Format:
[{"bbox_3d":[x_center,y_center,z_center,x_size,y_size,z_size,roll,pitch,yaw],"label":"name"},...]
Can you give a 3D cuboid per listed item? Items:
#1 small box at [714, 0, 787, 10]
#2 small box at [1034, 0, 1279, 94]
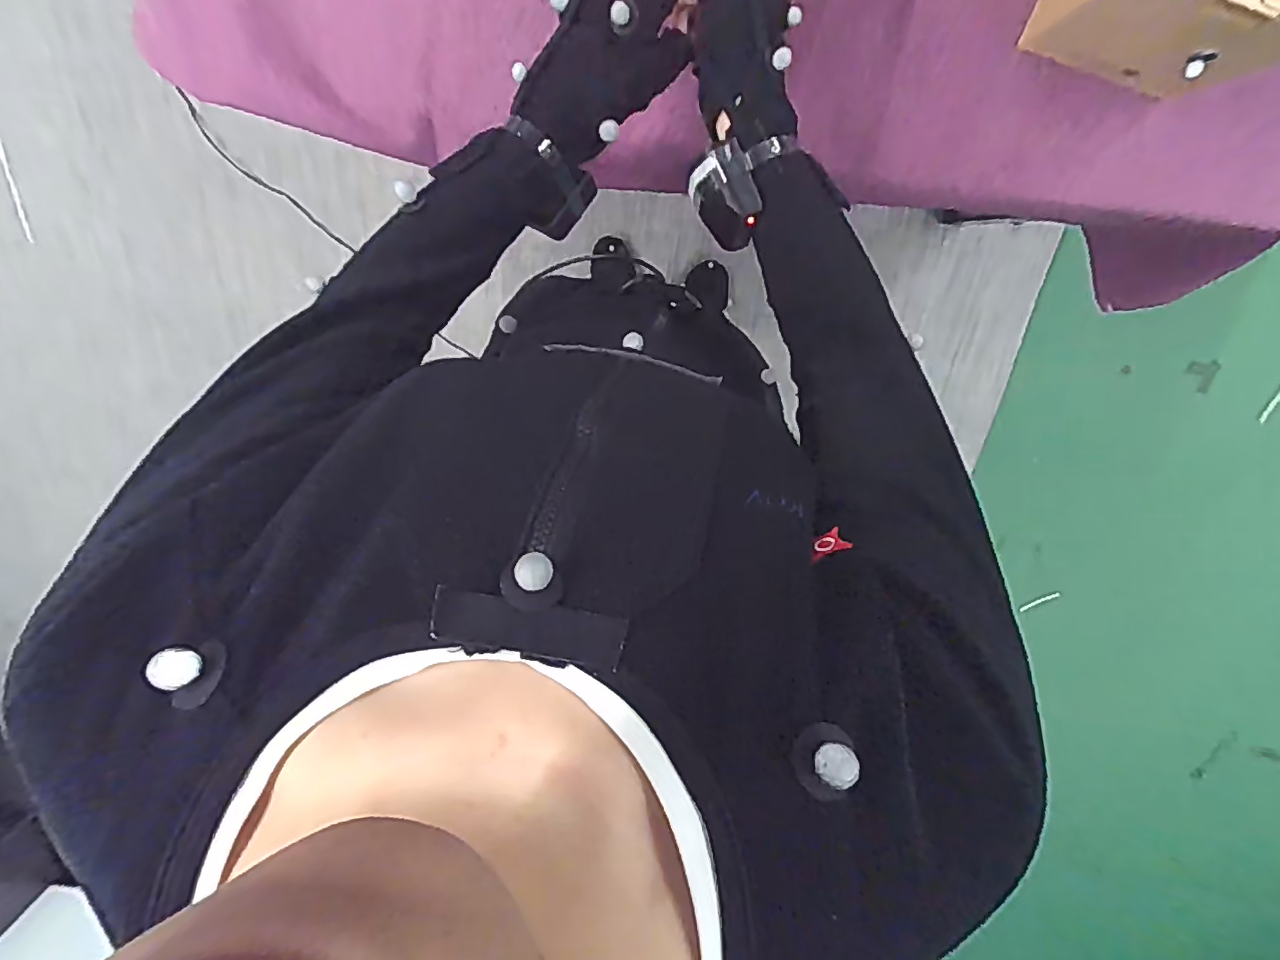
[{"bbox_3d":[0.066,-0.512,0.426,0.168,0.176,0.179,6,114,1],"label":"small box"},{"bbox_3d":[0.464,-0.443,0.427,0.168,0.176,0.179,17,113,-3],"label":"small box"}]
